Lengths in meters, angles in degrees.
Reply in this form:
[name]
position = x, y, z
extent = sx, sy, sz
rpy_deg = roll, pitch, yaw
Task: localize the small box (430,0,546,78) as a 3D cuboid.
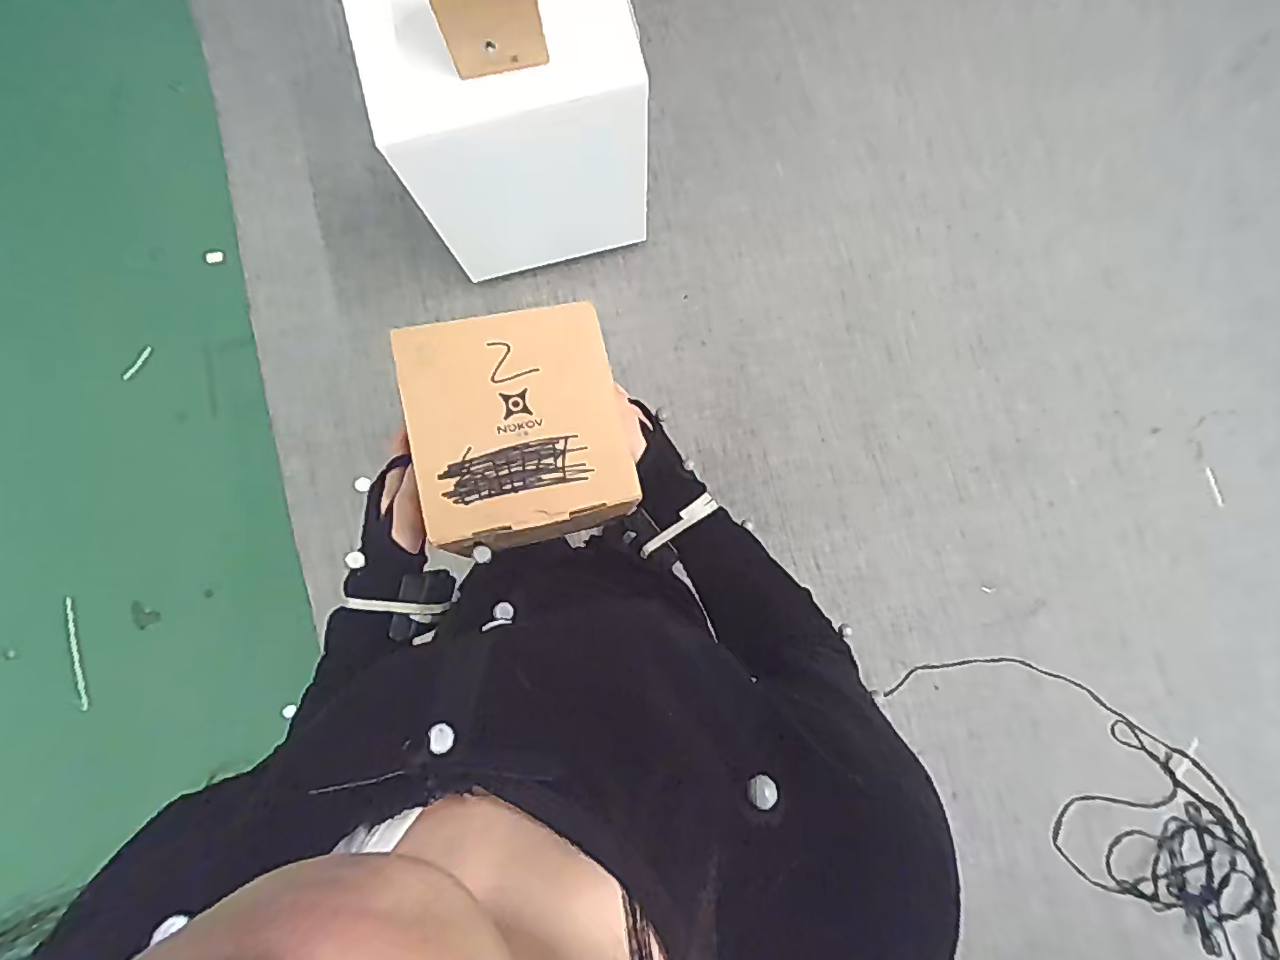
[small box]
position = -0.263, -0.825, 0.899
extent = 0.168, 0.176, 0.179
rpy_deg = -12, 85, -1
